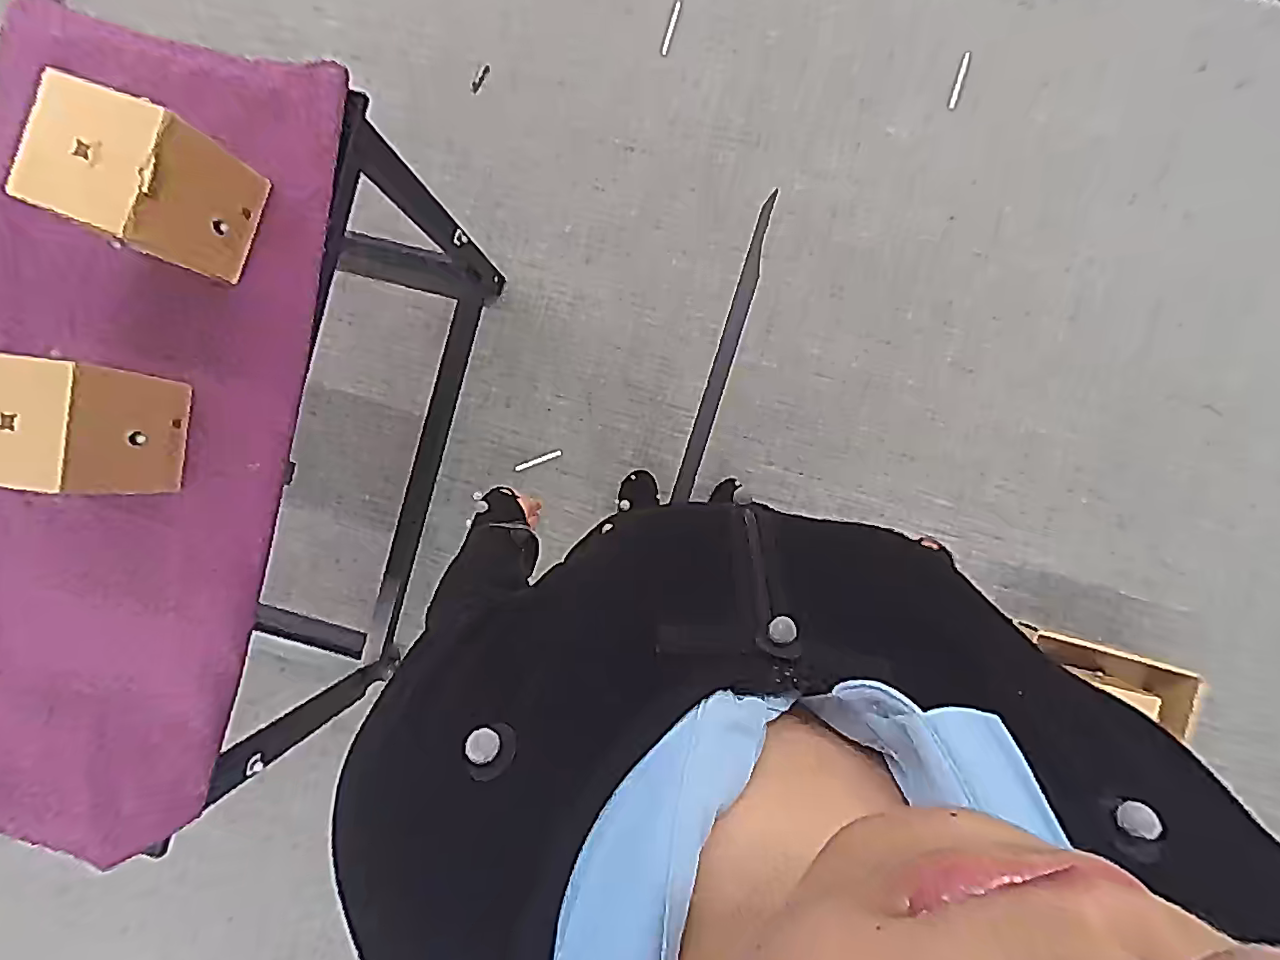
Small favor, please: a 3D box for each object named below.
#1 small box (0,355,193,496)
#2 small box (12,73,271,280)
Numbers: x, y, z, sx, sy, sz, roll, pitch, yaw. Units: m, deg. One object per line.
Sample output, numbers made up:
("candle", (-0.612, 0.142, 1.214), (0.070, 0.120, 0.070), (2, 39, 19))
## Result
("small box", (-0.775, -0.072, 0.749), (0.179, 0.176, 0.168), (7, 90, 4))
("small box", (-0.667, -0.400, 0.743), (0.179, 0.176, 0.168), (20, 91, 5))
